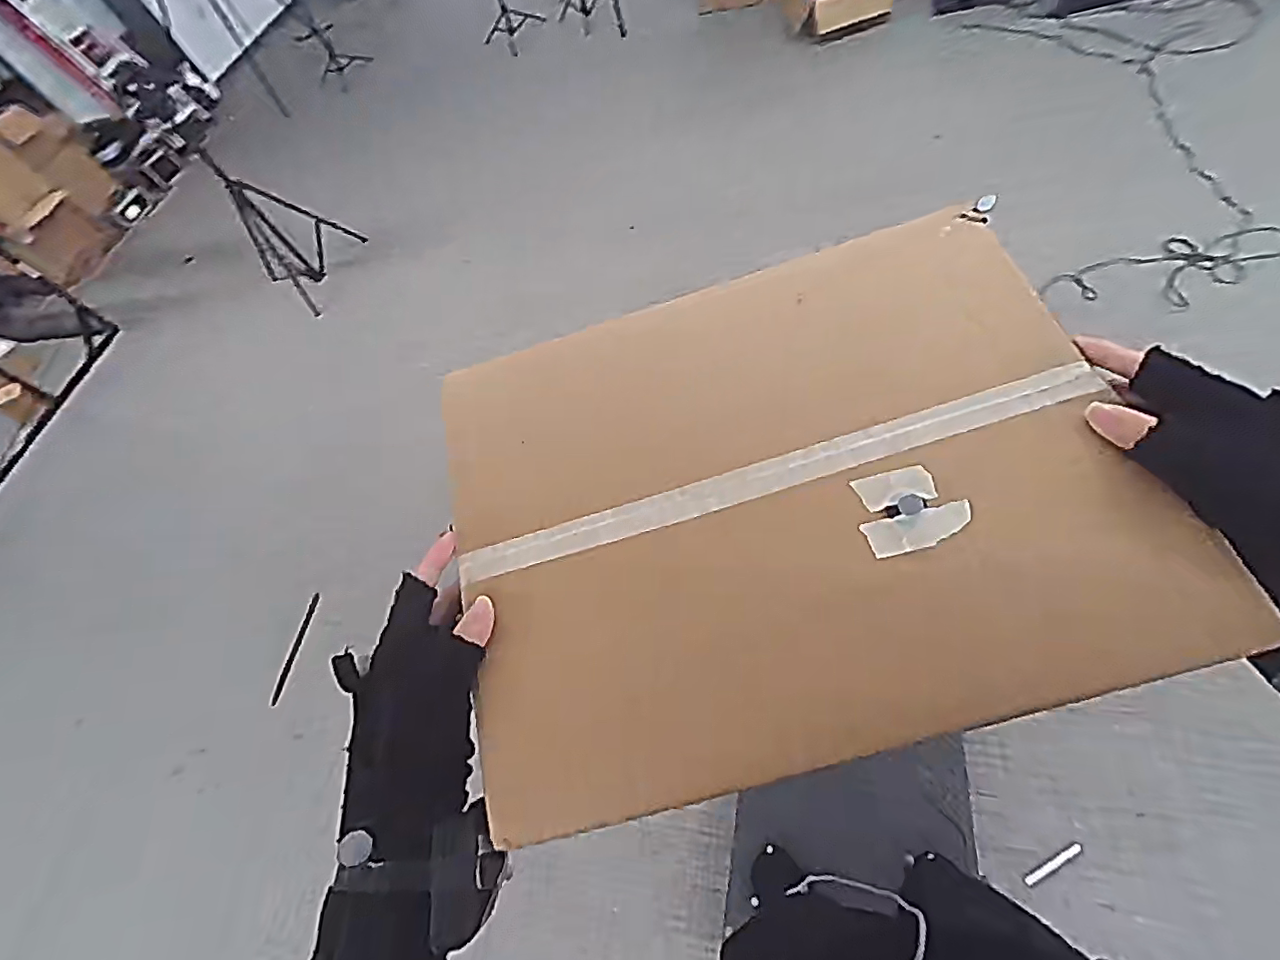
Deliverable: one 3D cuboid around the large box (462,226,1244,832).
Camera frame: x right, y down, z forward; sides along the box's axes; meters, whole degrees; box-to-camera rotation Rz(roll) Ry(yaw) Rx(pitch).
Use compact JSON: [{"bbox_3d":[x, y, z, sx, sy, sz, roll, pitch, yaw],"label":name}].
[{"bbox_3d":[0.110,0.060,0.482,0.408,0.320,0.320,-17,66,3],"label":"large box"}]
